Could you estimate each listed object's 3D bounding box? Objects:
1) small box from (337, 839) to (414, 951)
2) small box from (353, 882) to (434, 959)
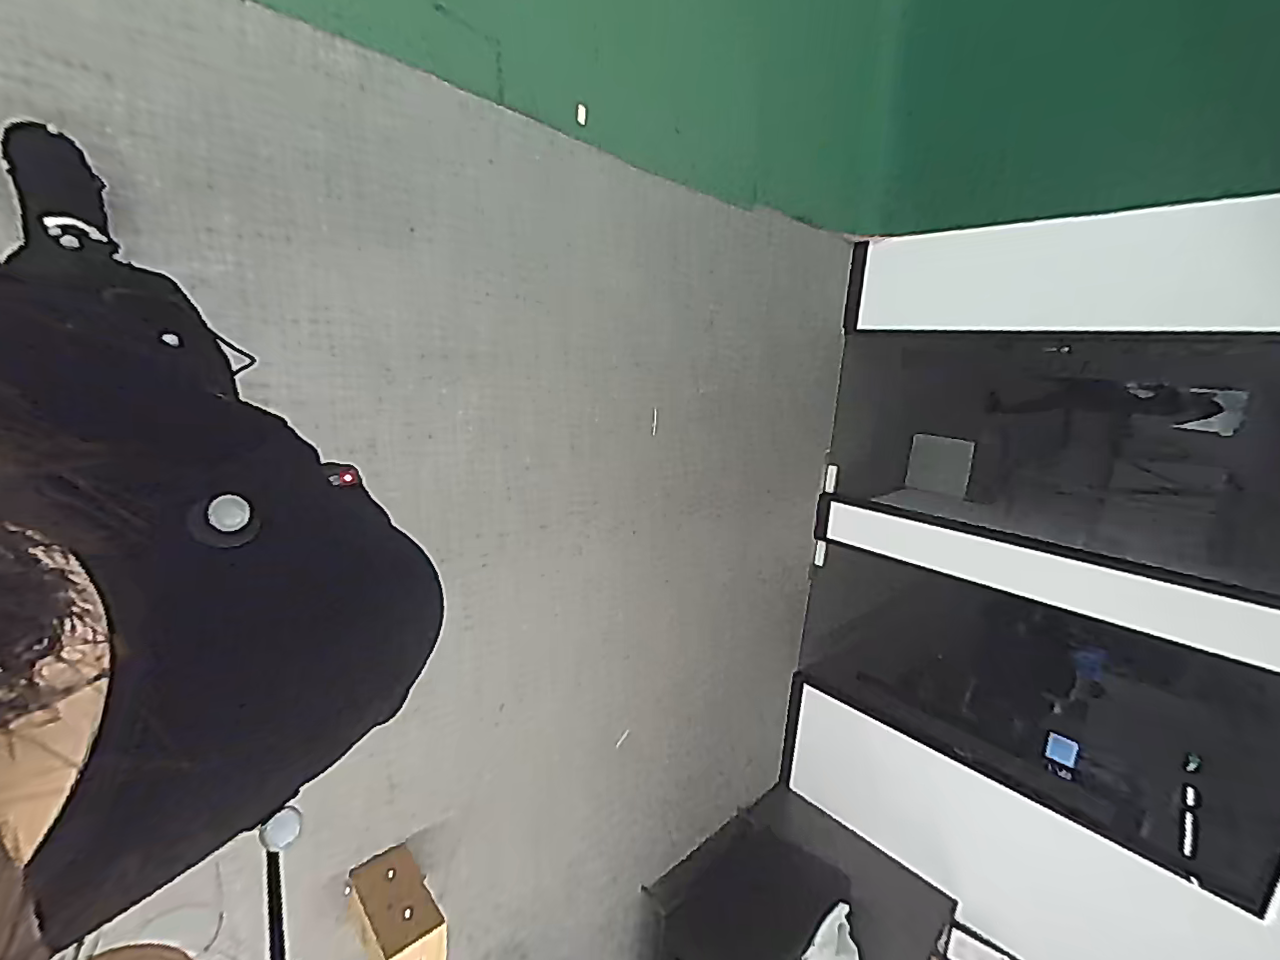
[{"bbox_3d":[-0.814,1.260,1.654,0.179,0.176,0.168,-6,107,-45],"label":"small box"},{"bbox_3d":[-0.704,1.299,1.537,0.168,0.176,0.179,-5,107,-44],"label":"small box"}]
